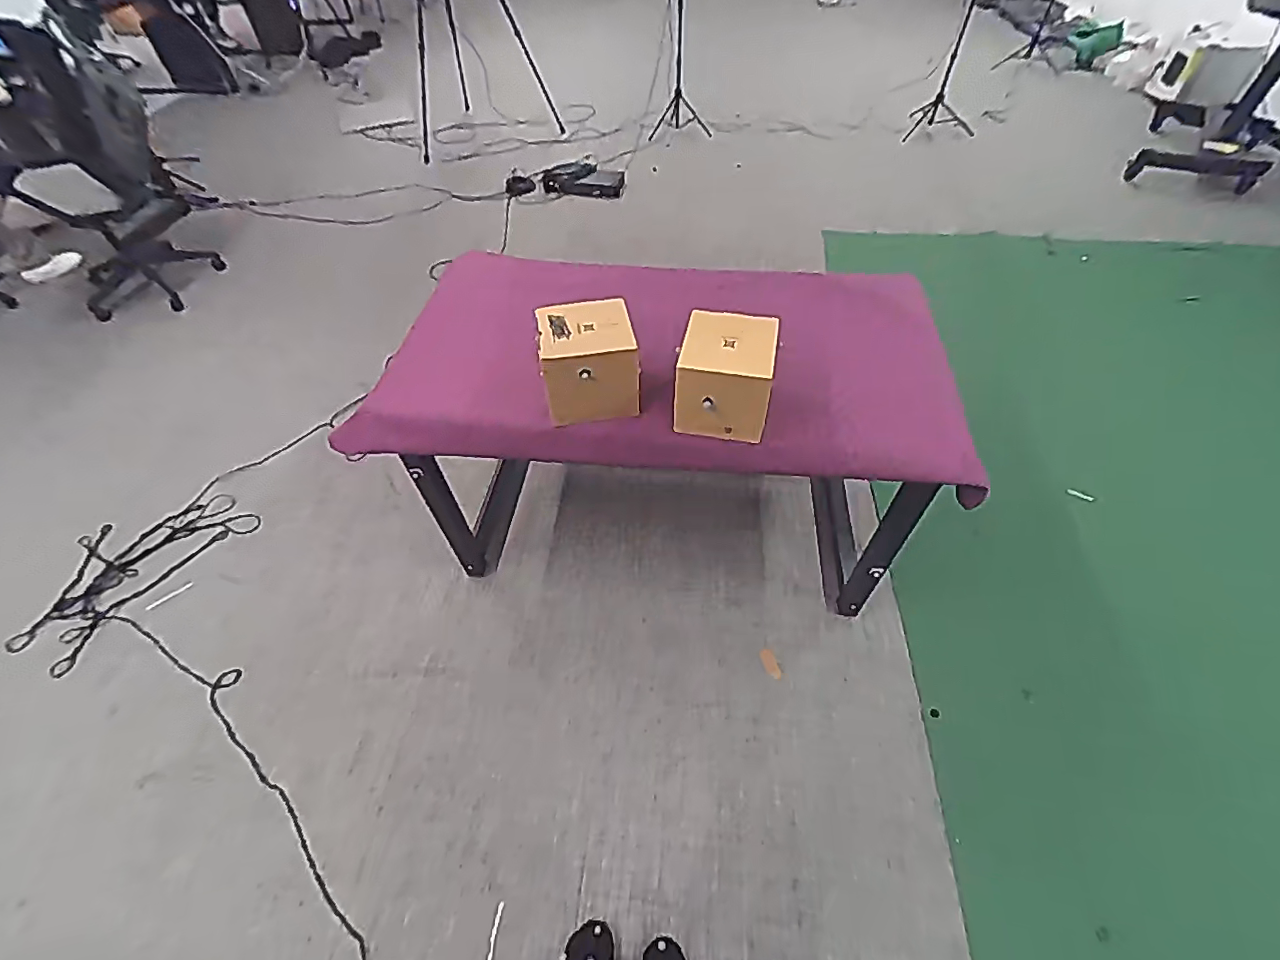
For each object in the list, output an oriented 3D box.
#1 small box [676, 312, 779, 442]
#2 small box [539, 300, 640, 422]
[{"bbox_3d":[0.165,-0.194,1.033,0.168,0.176,0.179,9,51,9],"label":"small box"},{"bbox_3d":[-0.098,-0.231,1.068,0.179,0.176,0.168,-7,50,-6],"label":"small box"}]
